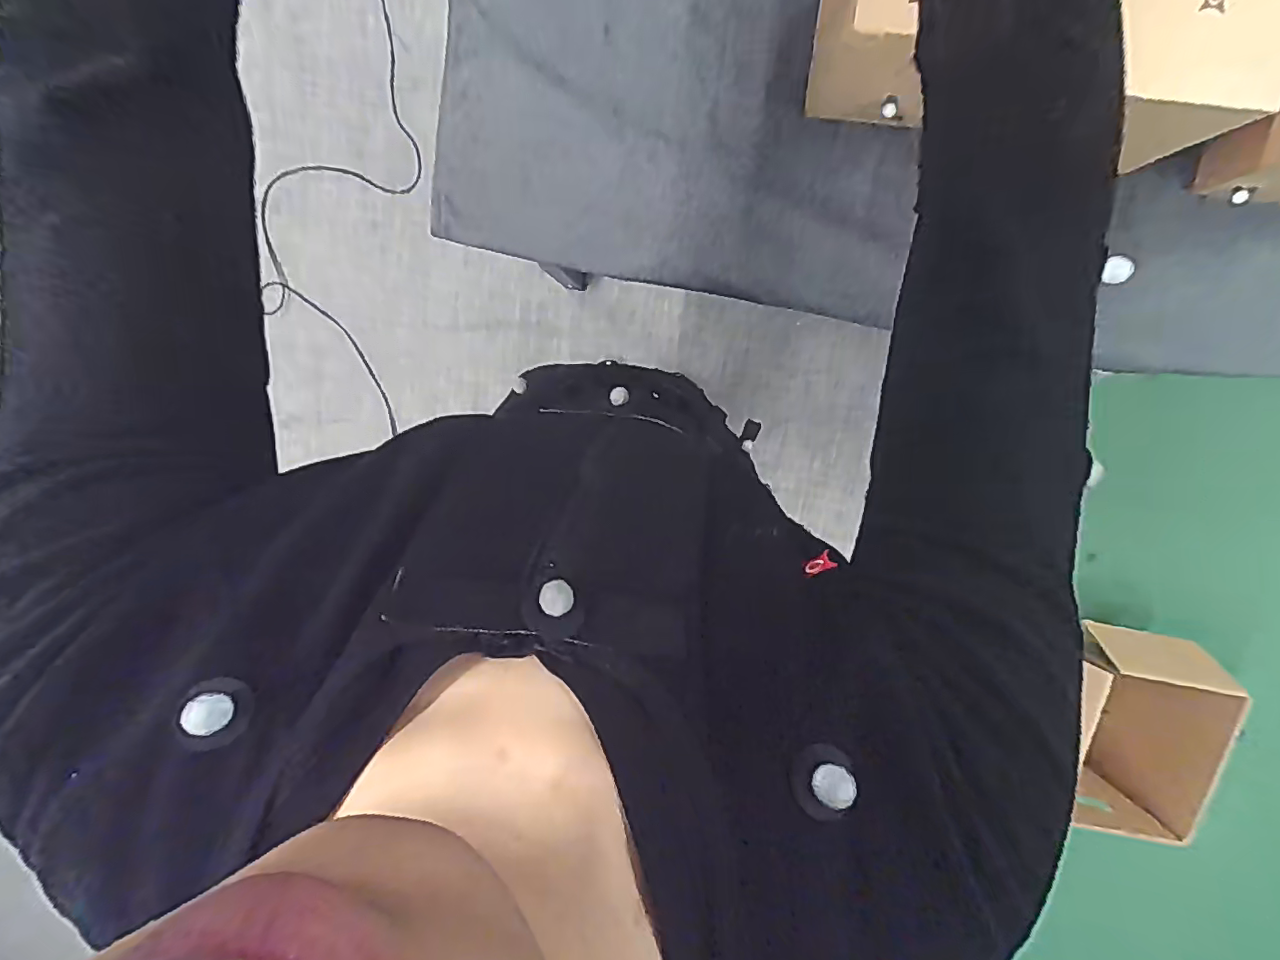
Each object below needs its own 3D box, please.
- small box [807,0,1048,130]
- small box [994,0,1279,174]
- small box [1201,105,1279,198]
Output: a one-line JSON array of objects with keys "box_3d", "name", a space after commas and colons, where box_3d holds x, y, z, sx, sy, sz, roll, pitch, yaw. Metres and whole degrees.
[{"box_3d": [0.277, -0.485, 0.535, 0.168, 0.176, 0.179, 6, 102, 1], "name": "small box"}, {"box_3d": [0.495, -0.432, 0.540, 0.168, 0.176, 0.179, 7, 101, 1], "name": "small box"}, {"box_3d": [0.732, -0.394, 0.536, 0.168, 0.176, 0.179, 6, 101, 1], "name": "small box"}]
